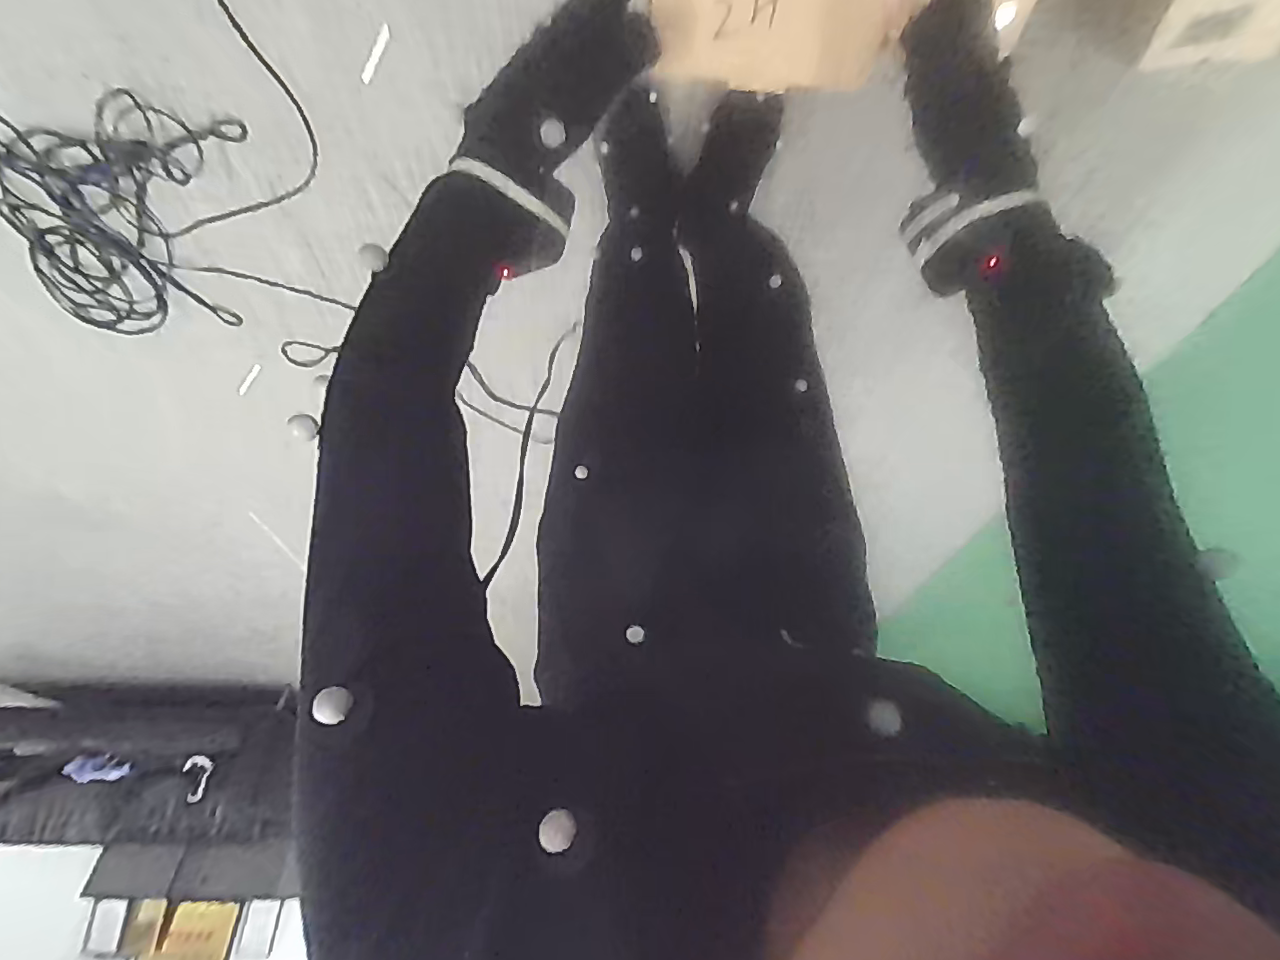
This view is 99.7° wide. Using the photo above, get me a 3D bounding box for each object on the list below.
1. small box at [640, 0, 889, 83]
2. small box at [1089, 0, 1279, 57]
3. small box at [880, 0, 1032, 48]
[{"bbox_3d":[0.087,-0.410,0.384,0.168,0.176,0.179,3,136,-3],"label":"small box"},{"bbox_3d":[0.707,-0.658,0.664,0.168,0.176,0.179,-3,142,4],"label":"small box"},{"bbox_3d":[0.389,-0.665,0.665,0.168,0.176,0.179,1,144,2],"label":"small box"}]
